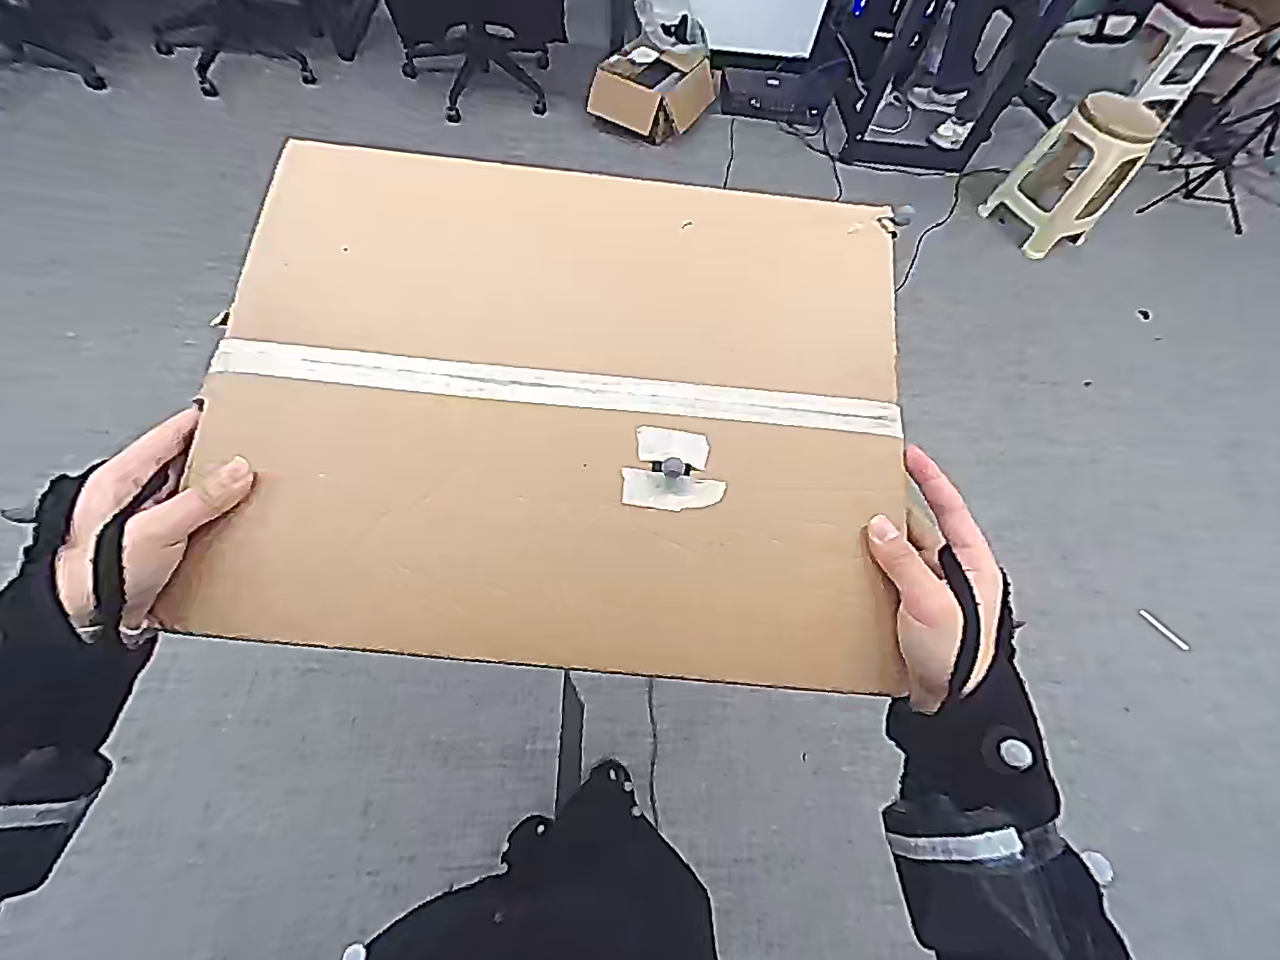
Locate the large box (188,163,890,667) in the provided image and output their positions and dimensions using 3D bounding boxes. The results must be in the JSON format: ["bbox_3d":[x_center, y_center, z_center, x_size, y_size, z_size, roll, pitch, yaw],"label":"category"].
[{"bbox_3d":[-0.051,-0.019,0.485,0.408,0.320,0.320,6,76,-2],"label":"large box"}]
